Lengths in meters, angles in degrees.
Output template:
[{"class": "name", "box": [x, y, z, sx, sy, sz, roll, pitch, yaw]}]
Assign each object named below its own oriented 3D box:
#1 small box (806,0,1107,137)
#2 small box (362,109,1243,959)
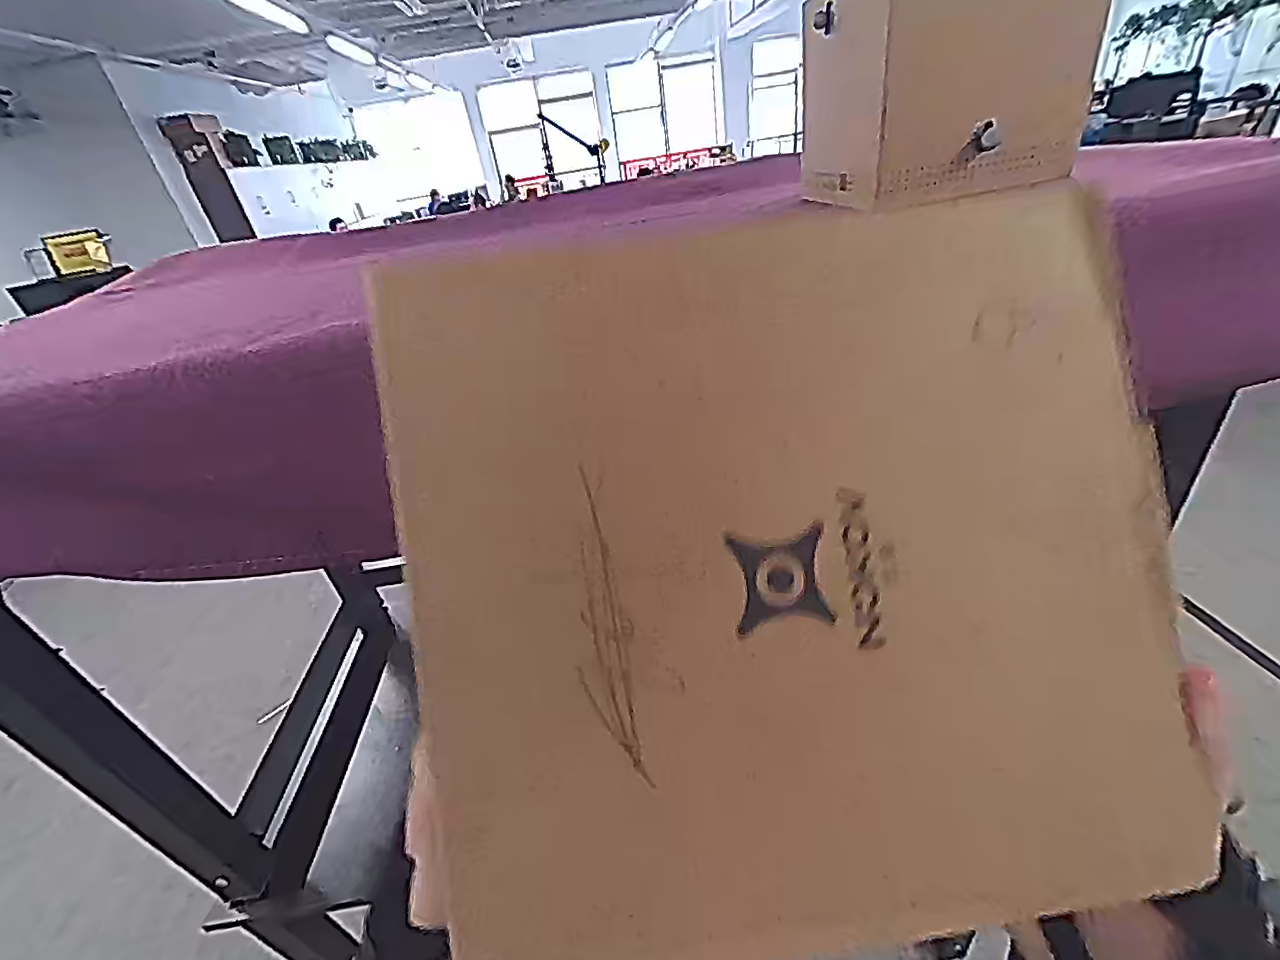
[{"class": "small box", "box": [0.256, -0.351, 0.476, 0.179, 0.176, 0.168, -11, 31, -2]}, {"class": "small box", "box": [0.033, 0.010, 0.196, 0.179, 0.168, 0.176, -8, -1, -2]}]
